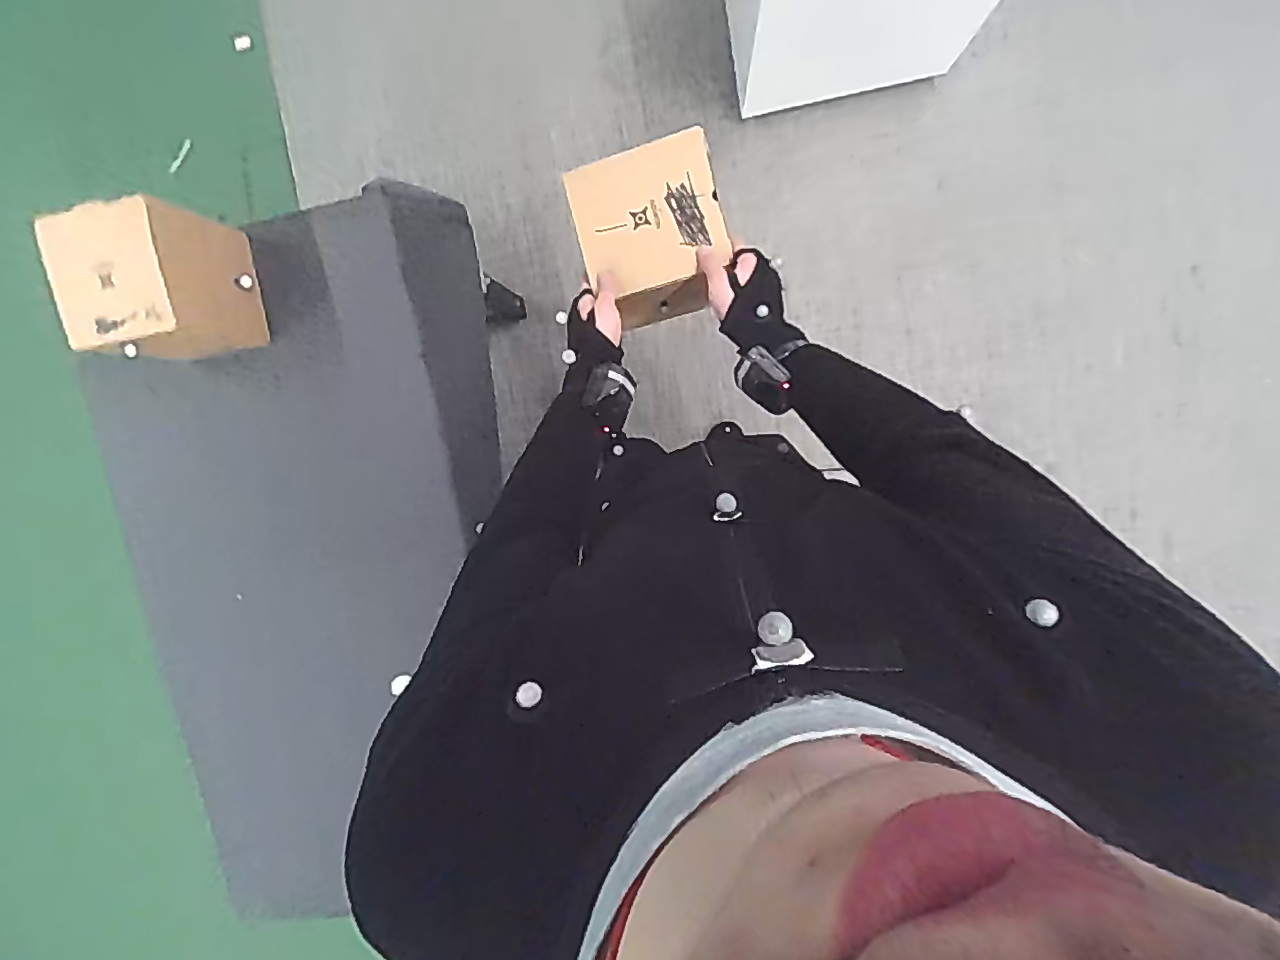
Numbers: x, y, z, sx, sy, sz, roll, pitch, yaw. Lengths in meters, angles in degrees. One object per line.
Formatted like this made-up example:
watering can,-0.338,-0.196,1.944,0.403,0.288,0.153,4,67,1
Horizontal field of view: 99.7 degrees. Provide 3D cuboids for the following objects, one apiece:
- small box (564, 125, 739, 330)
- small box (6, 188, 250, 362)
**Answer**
small box,0.018,-0.310,0.703,0.179,0.176,0.168,-14,91,6
small box,-0.699,-0.274,0.761,0.168,0.176,0.179,-9,96,5
